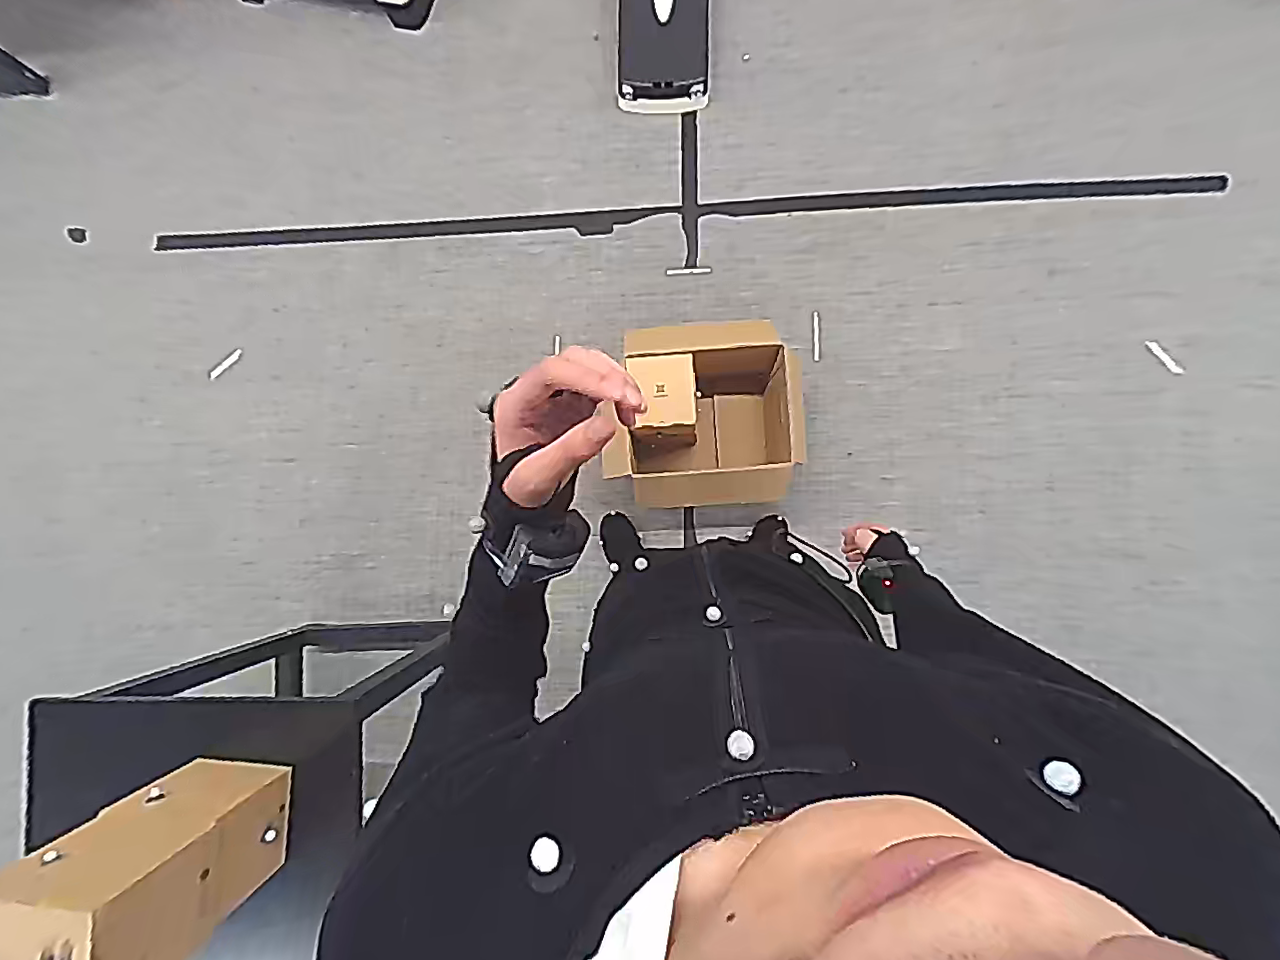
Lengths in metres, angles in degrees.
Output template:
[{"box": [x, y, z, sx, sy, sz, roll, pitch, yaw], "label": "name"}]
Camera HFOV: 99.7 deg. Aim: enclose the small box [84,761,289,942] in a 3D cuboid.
[{"box": [-0.696, 0.566, 0.847, 0.179, 0.176, 0.168, 3, 89, 3], "label": "small box"}]
